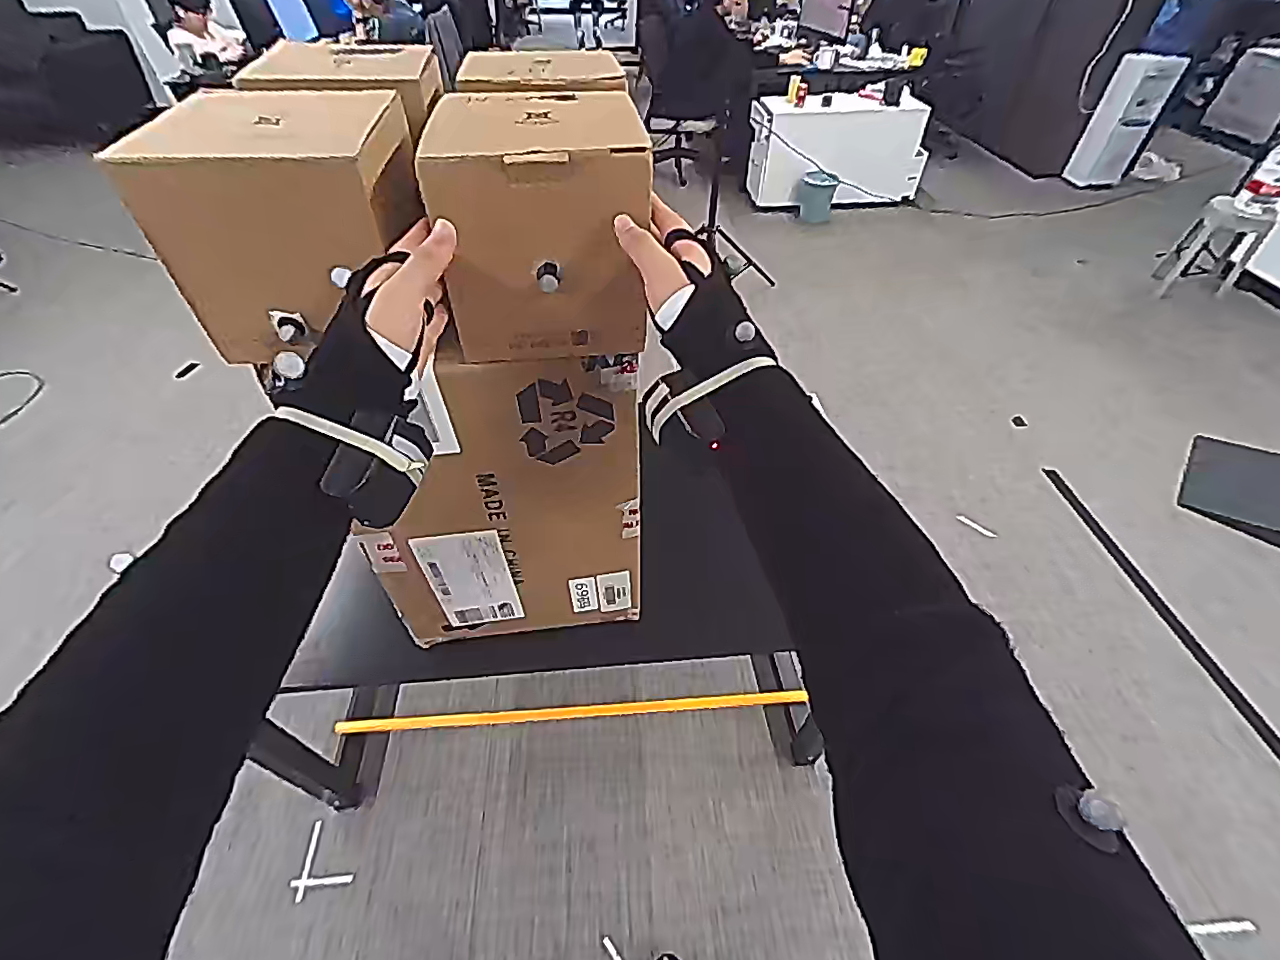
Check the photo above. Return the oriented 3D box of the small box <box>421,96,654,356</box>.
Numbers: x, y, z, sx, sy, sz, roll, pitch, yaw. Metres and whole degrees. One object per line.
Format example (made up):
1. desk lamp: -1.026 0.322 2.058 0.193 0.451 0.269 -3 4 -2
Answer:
1. small box: -0.082 -0.224 0.487 0.168 0.176 0.179 -4 48 -7
